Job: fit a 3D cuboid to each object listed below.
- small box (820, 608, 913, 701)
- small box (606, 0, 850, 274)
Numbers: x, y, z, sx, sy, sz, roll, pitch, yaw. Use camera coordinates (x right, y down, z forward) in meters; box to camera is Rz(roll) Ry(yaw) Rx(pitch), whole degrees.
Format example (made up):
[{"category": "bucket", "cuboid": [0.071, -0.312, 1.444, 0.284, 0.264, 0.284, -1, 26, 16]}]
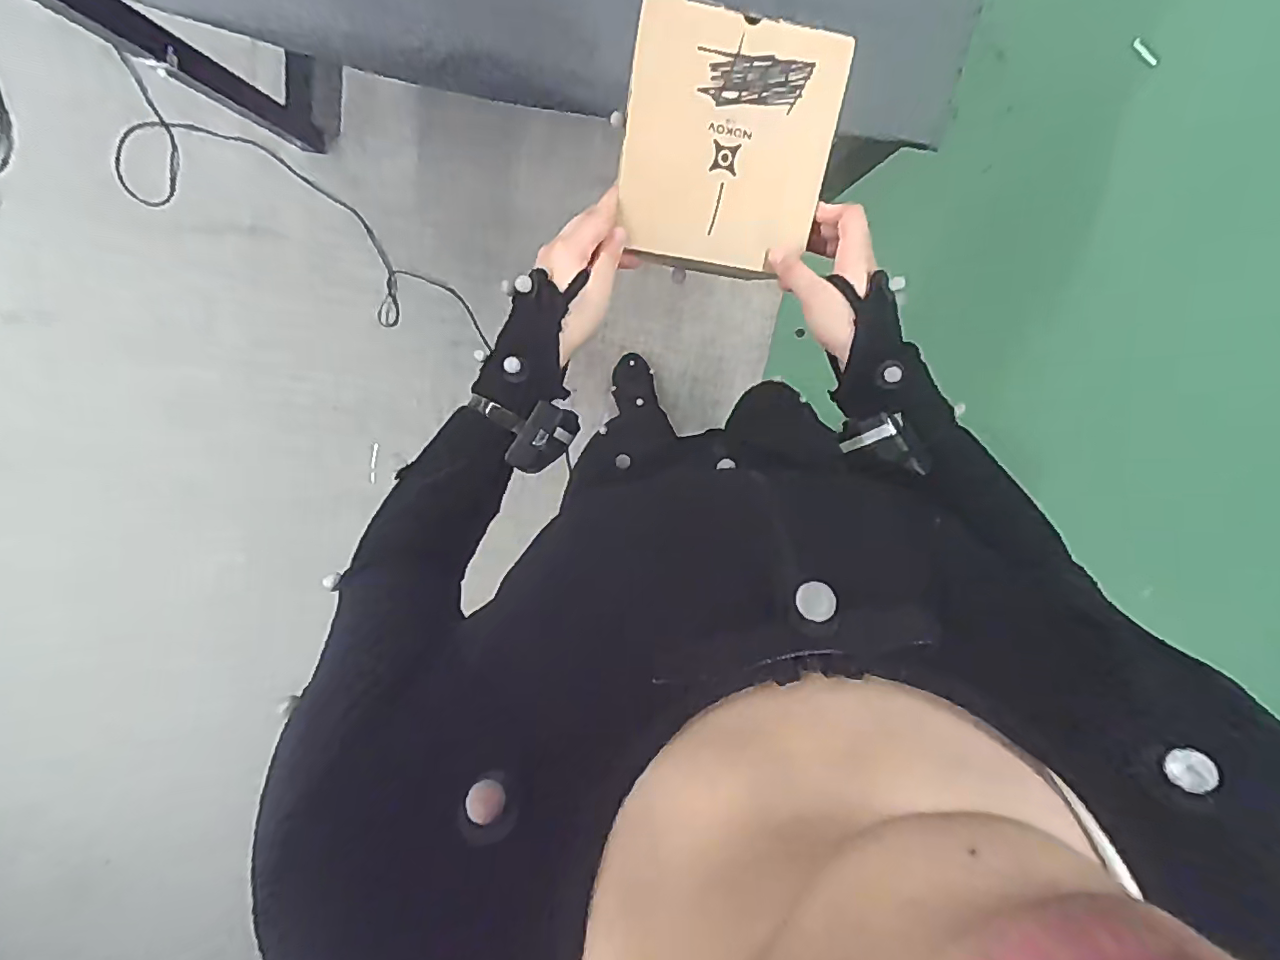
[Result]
[{"category": "small box", "cuboid": [0.625, 0.489, 1.520, 0.168, 0.176, 0.179, 15, 103, -2]}, {"category": "small box", "cuboid": [0.060, -0.295, 0.496, 0.168, 0.176, 0.179, 7, 110, -6]}]
